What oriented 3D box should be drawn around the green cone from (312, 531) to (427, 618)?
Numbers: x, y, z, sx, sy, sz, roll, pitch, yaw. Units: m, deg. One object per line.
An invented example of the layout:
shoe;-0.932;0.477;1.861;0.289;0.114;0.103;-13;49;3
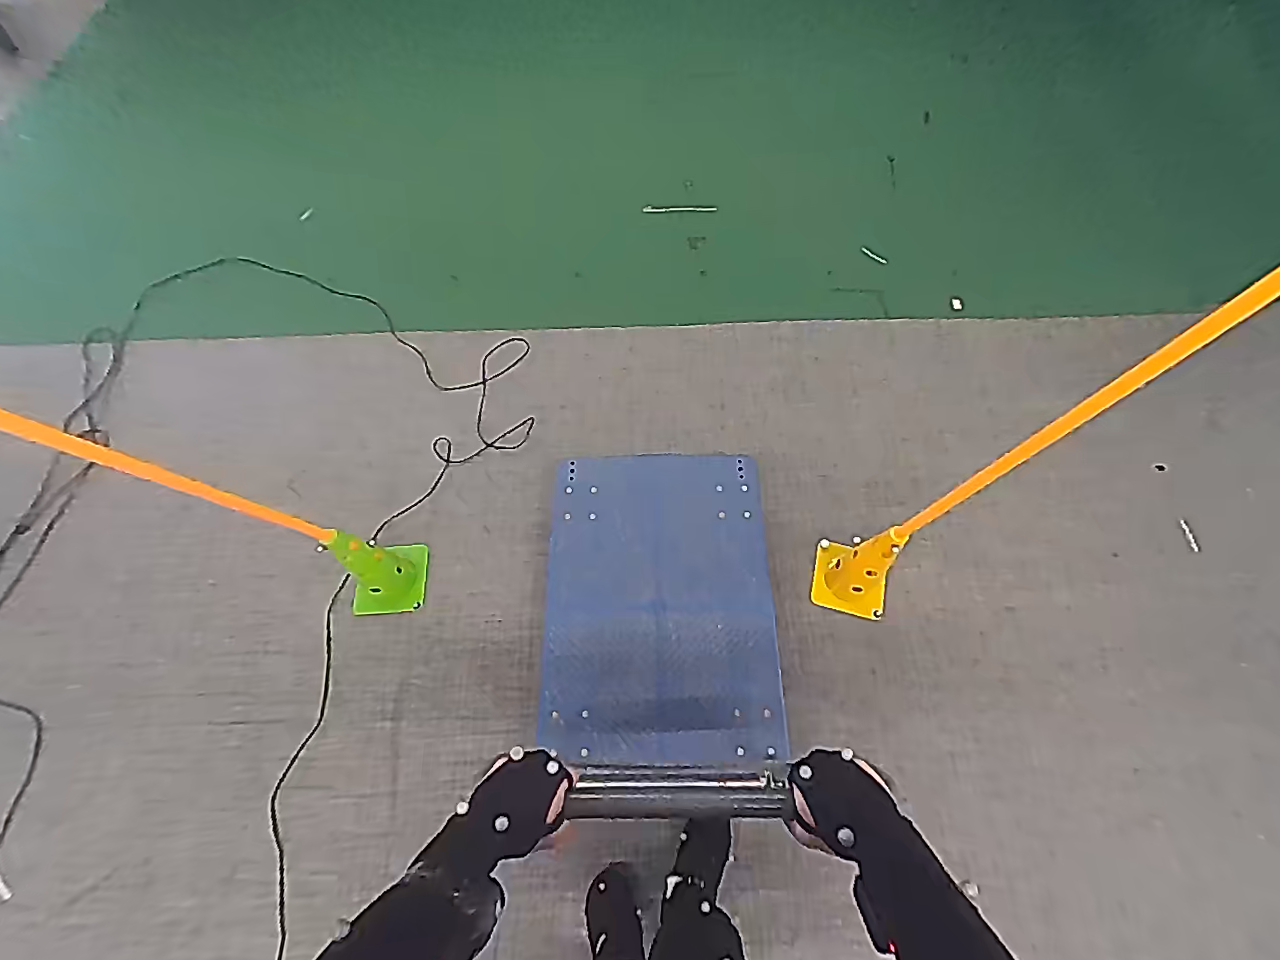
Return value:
green cone;-0.737;0.216;1.428;0.202;0.368;0.200;-6;62;0
